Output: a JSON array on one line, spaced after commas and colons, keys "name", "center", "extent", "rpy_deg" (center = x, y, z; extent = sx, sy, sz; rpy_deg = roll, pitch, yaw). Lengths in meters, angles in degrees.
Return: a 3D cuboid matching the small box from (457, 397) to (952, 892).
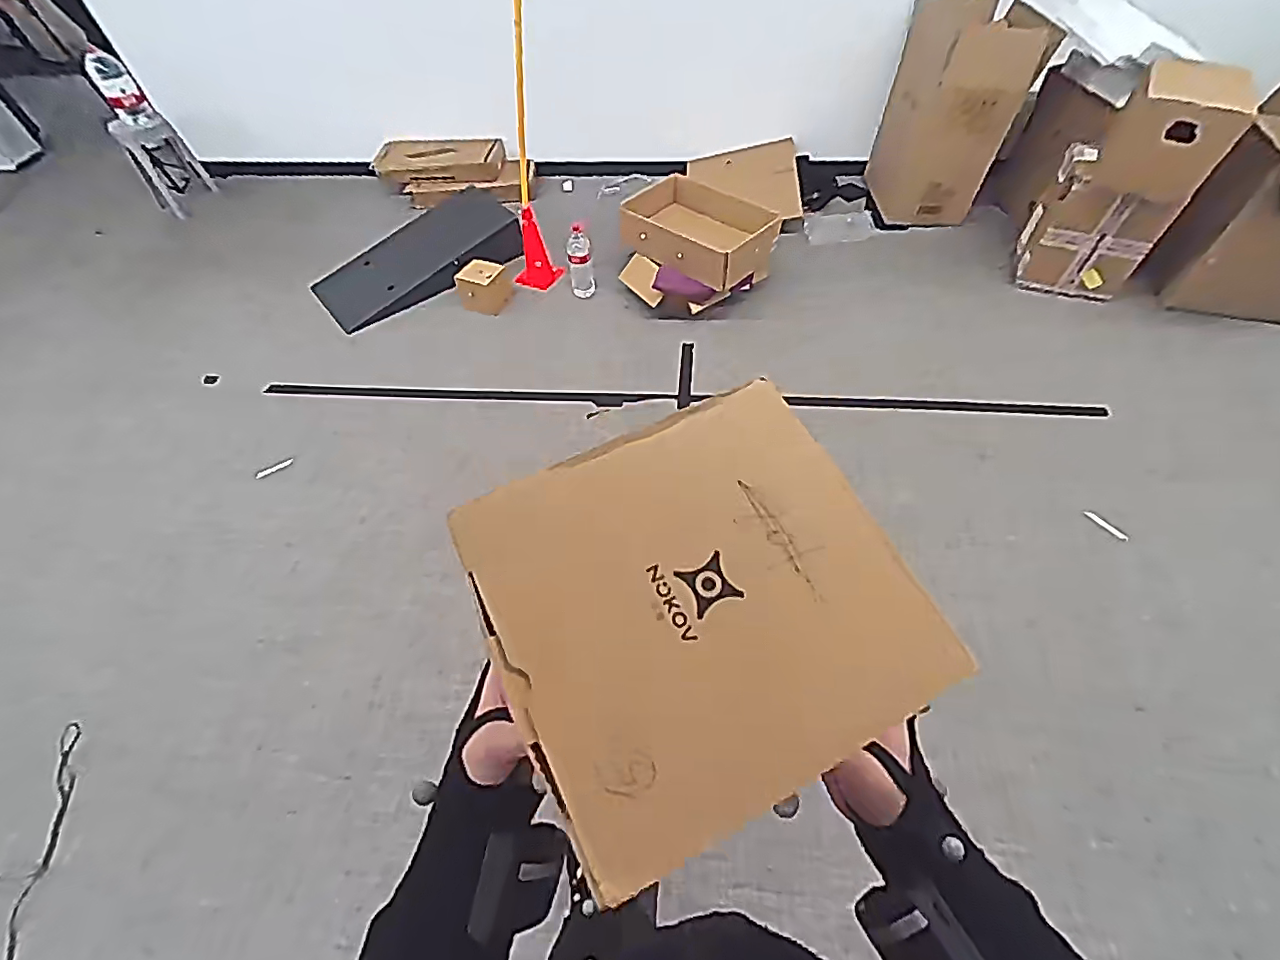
[{"name": "small box", "center": [0.022, 0.088, 0.316], "extent": [0.179, 0.176, 0.168], "rpy_deg": [-24, 69, -14]}]
